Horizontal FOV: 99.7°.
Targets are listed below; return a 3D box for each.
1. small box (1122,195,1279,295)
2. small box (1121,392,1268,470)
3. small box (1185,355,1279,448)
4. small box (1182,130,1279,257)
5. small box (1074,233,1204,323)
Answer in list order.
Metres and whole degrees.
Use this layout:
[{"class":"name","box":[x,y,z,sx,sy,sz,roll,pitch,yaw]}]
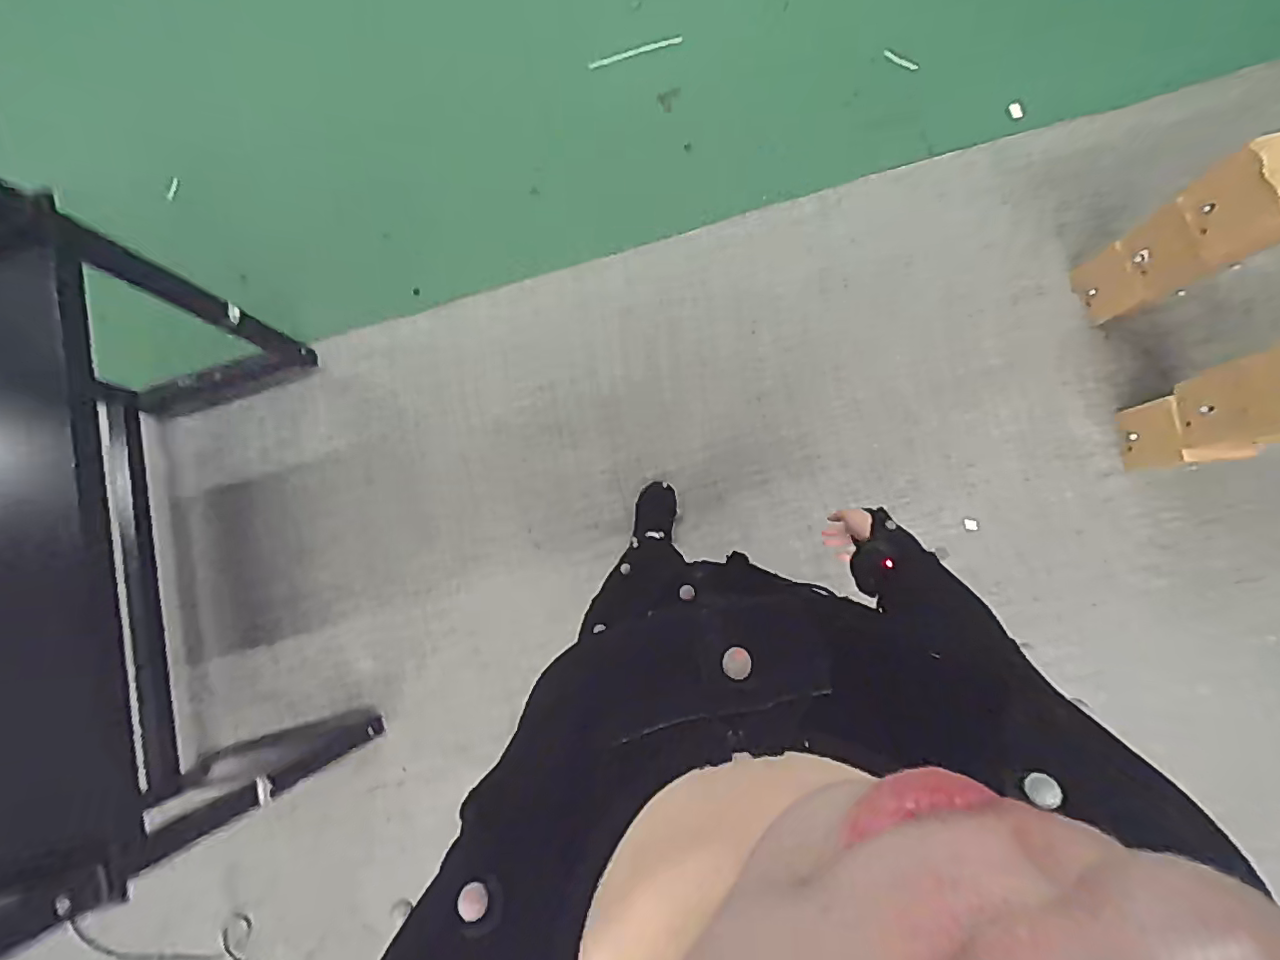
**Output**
[{"class":"small box","box":[1.292,-0.559,1.249,0.179,0.176,0.168,-19,80,2]},{"class":"small box","box":[1.363,-0.122,1.342,0.179,0.176,0.168,-6,81,5]},{"class":"small box","box":[1.357,-0.166,1.184,0.179,0.176,0.168,-2,81,5]},{"class":"small box","box":[1.275,-0.582,1.088,0.179,0.176,0.168,-13,81,3]},{"class":"small box","box":[1.300,-0.540,1.409,0.179,0.176,0.168,-19,80,2]}]
